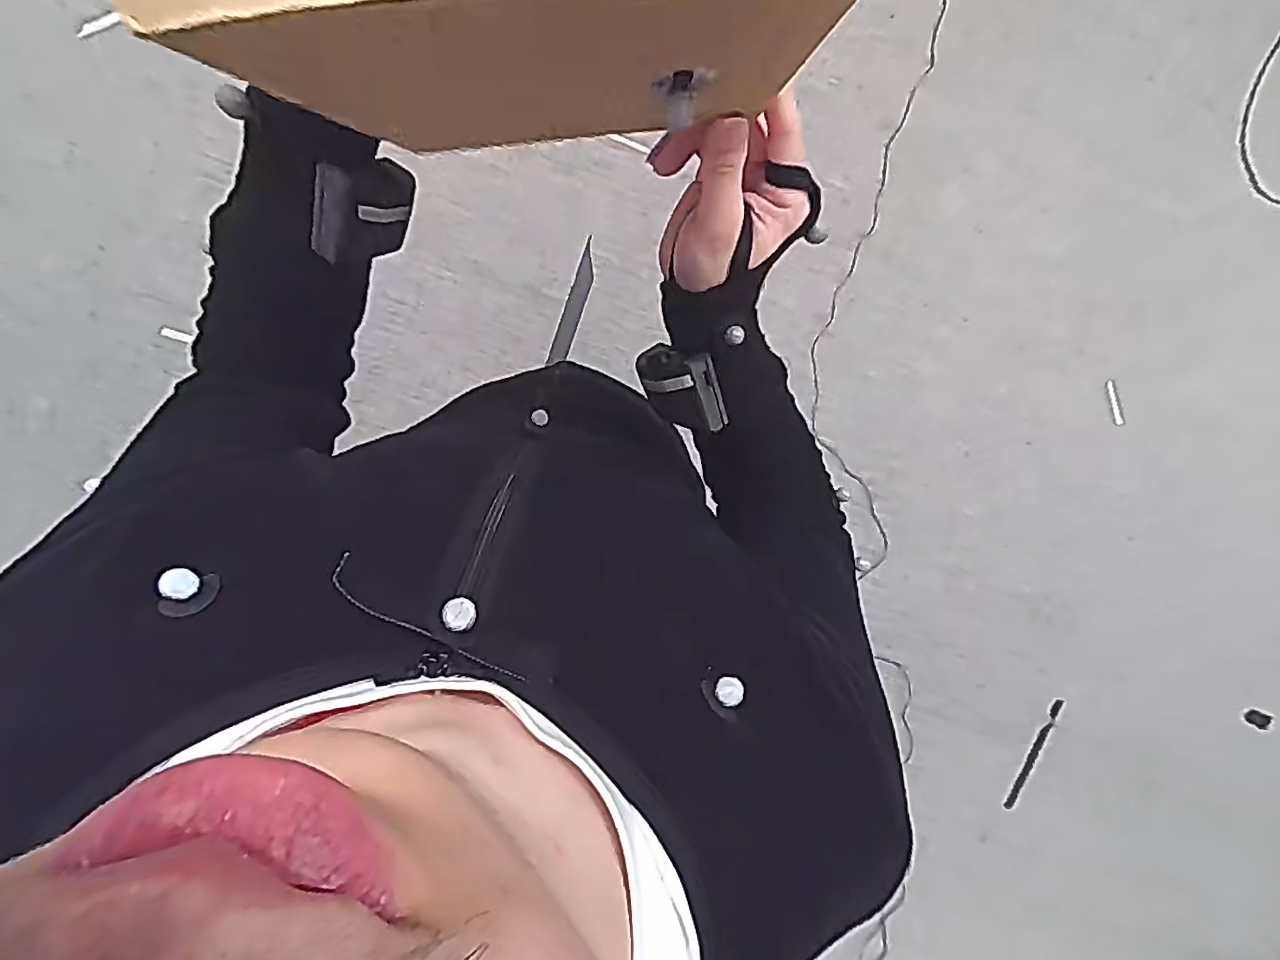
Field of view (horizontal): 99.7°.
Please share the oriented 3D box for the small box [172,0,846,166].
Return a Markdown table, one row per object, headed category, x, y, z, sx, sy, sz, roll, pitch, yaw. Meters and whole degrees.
| category | x | y | z | sx | sy | sz | roll | pitch | yaw |
| --- | --- | --- | --- | --- | --- | --- | --- | --- | --- |
| small box | -0.036 | -0.219 | 0.180 | 0.179 | 0.176 | 0.168 | -5 | 111 | 4 |
